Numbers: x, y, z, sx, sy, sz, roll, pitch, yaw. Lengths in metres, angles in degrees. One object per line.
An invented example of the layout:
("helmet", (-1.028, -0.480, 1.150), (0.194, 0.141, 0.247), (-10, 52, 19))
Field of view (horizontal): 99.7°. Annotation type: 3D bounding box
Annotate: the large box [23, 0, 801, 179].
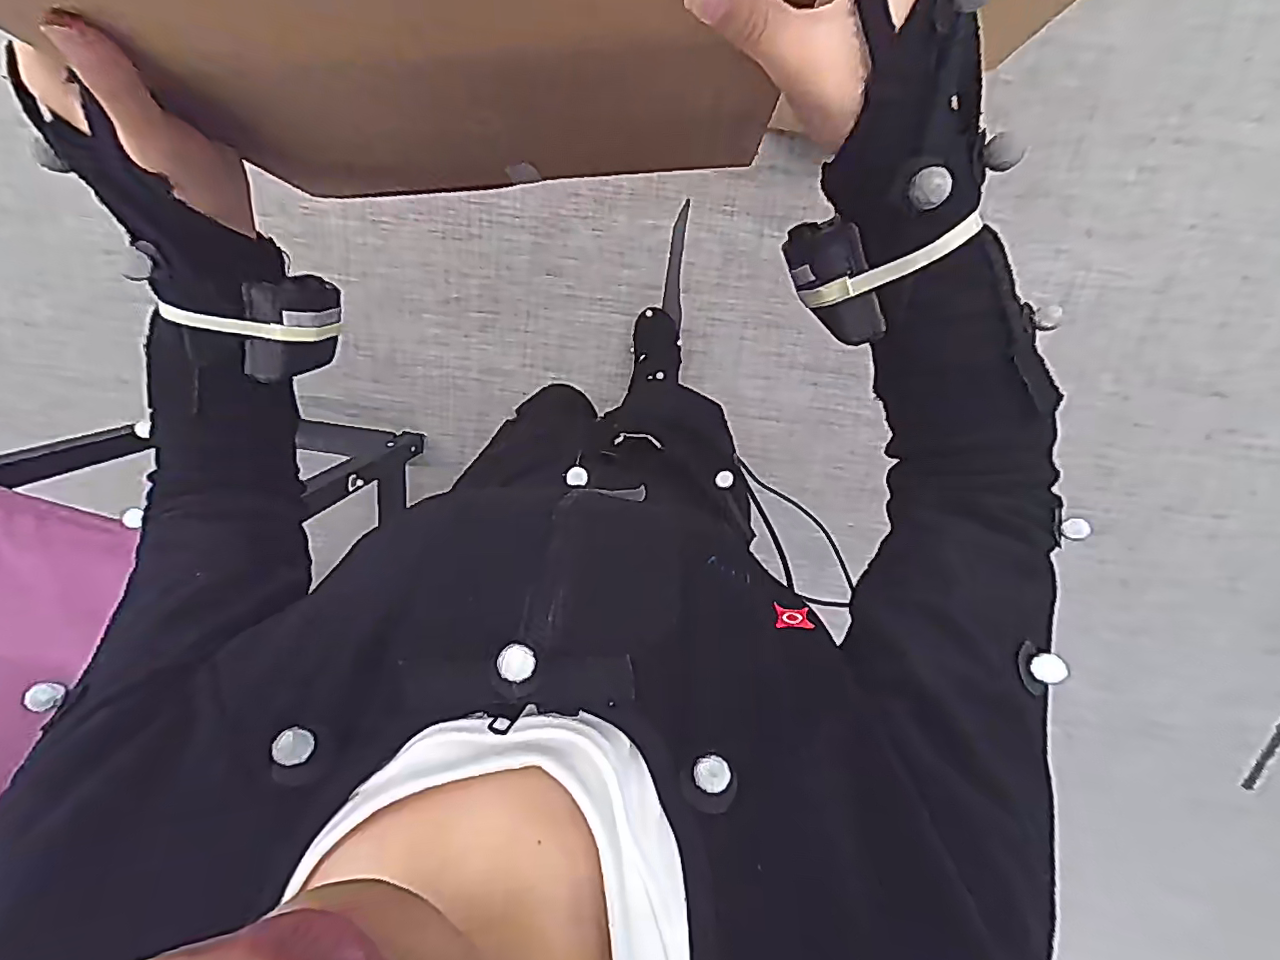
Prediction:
("large box", (-0.095, -0.386, 0.190), (0.320, 0.320, 0.408), (-3, 100, 4))
